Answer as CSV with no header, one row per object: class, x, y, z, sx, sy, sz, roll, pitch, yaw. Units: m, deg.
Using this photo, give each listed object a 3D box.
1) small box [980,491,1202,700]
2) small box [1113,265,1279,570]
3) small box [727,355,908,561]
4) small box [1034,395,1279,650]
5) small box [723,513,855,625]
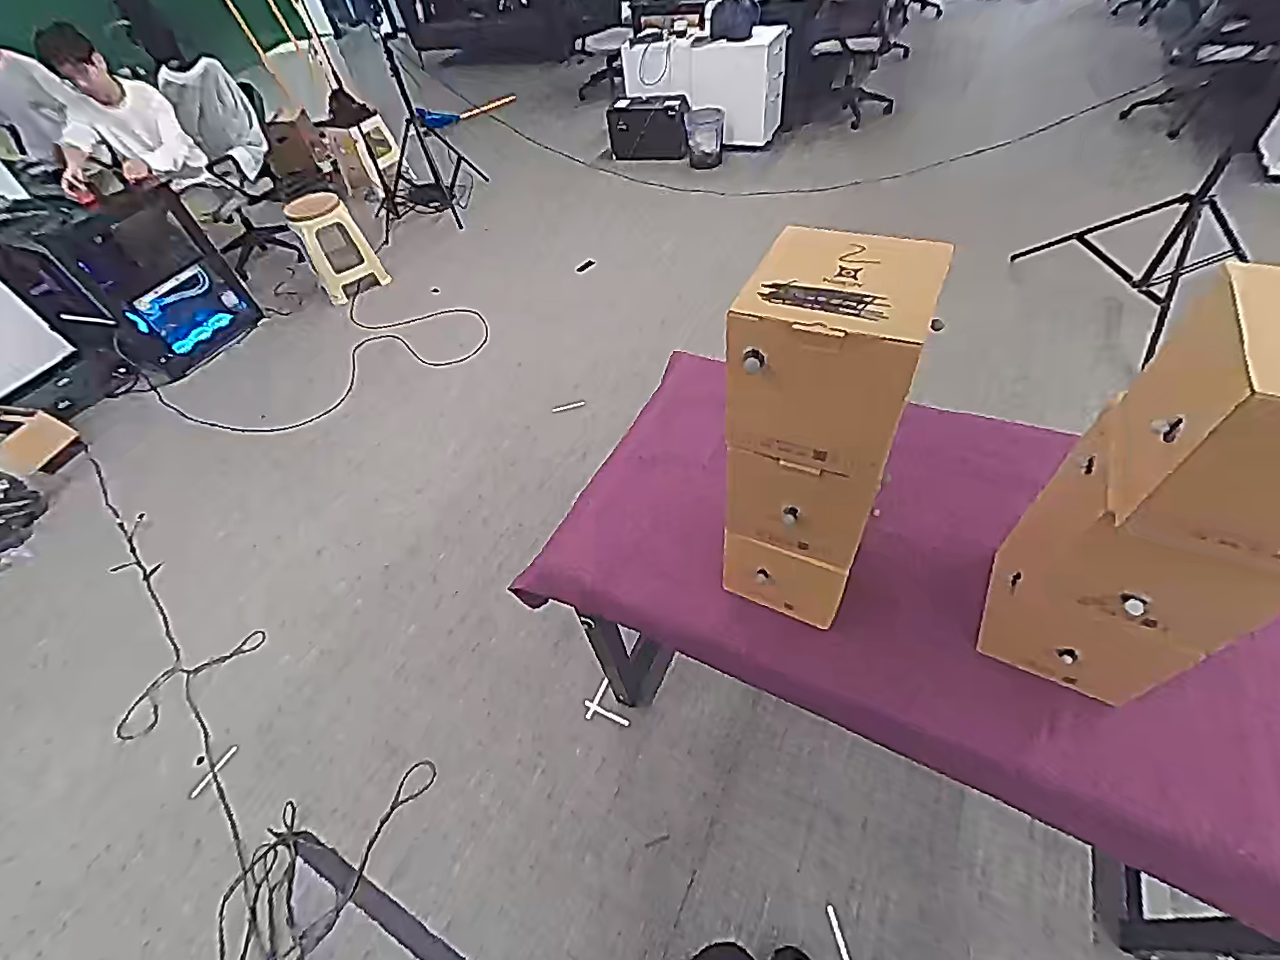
small box,0.566,0.151,0.696,0.168,0.176,0.179,21,56,23
small box,0.525,-0.043,0.436,0.168,0.176,0.179,18,55,21
small box,0.217,-0.026,0.682,0.168,0.176,0.179,17,54,21
small box,0.552,0.044,0.572,0.168,0.176,0.179,20,57,23
small box,0.233,0.085,0.802,0.168,0.176,0.179,19,54,22
